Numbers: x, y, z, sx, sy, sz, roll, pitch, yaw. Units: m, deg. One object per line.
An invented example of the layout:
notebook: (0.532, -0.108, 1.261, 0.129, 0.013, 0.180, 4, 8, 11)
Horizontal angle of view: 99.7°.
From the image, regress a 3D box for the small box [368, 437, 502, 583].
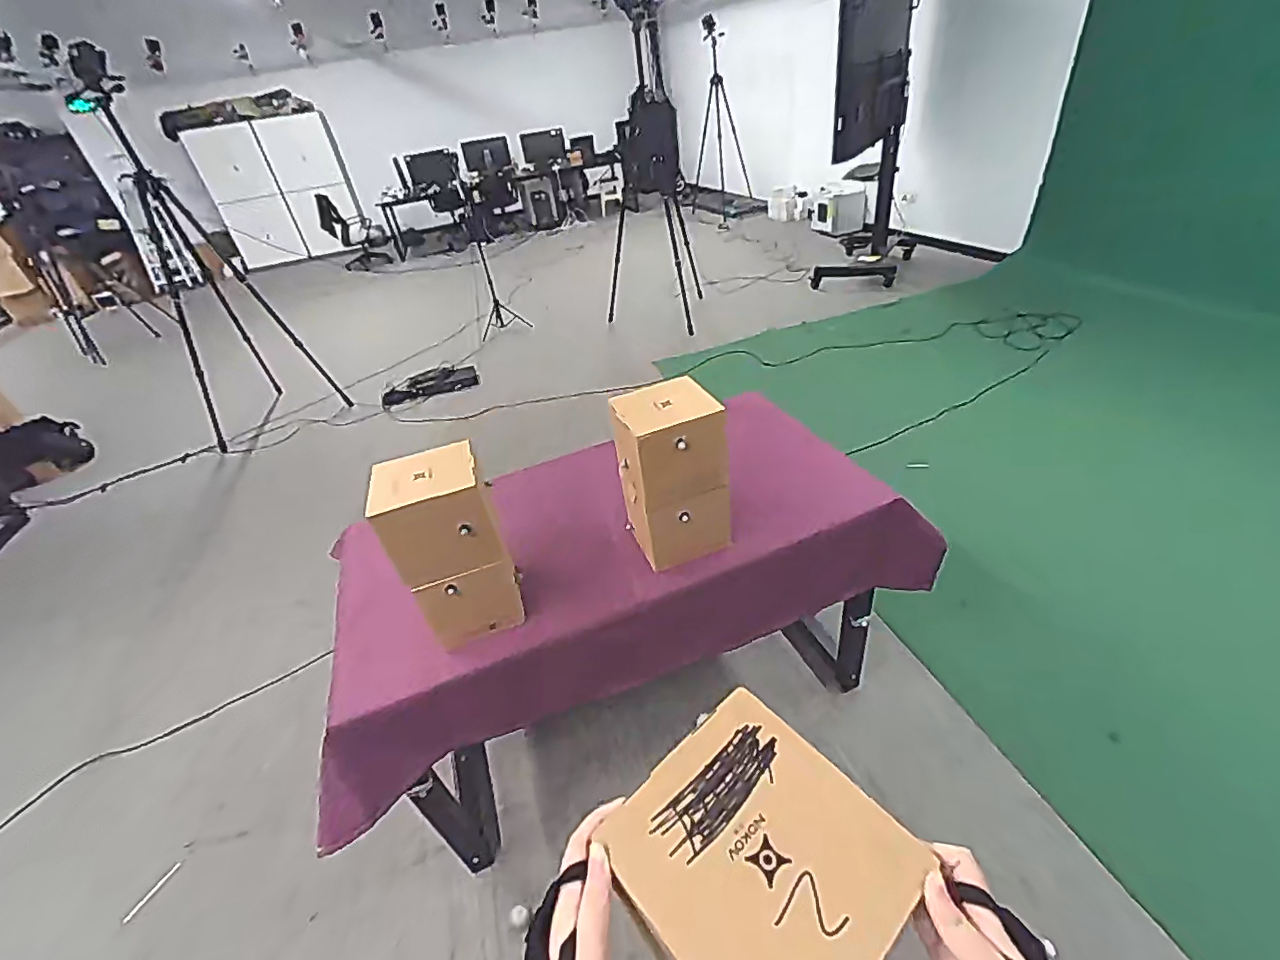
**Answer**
small box: (-0.353, 0.052, 0.961, 0.179, 0.176, 0.168, -17, 36, -9)

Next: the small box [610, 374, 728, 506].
small box: (0.057, -0.079, 1.045, 0.179, 0.176, 0.168, -19, 38, -11)

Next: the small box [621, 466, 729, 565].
small box: (0.076, 0.052, 1.140, 0.179, 0.176, 0.168, -18, 37, -12)

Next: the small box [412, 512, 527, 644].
small box: (-0.331, 0.183, 1.057, 0.168, 0.176, 0.179, -18, 36, -10)
